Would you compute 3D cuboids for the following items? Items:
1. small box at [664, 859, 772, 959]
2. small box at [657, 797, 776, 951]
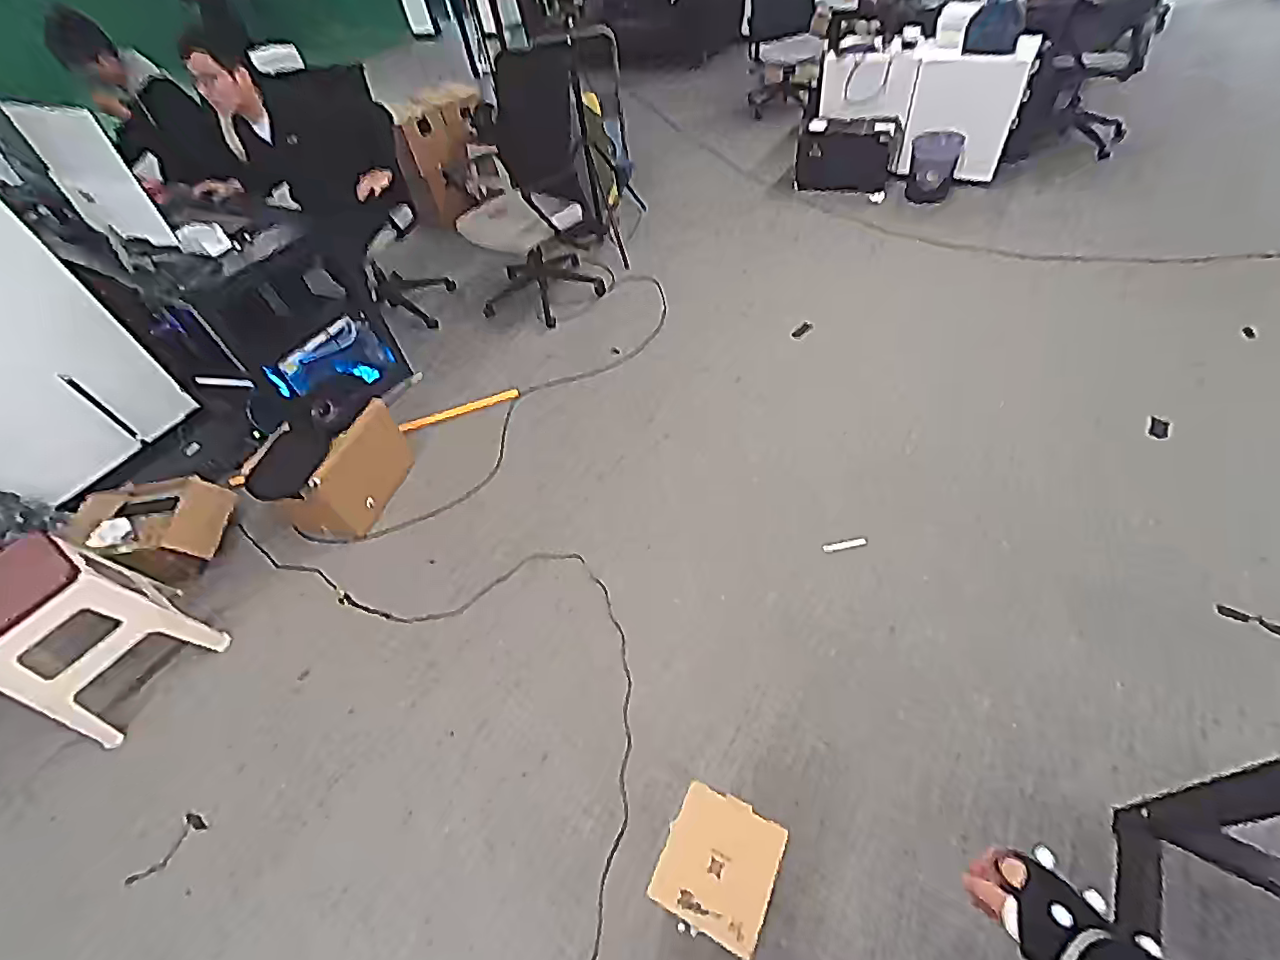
[{"bbox_3d":[0.163,0.847,1.126,0.168,0.176,0.179,18,55,23],"label":"small box"},{"bbox_3d":[0.145,0.736,1.010,0.168,0.176,0.179,16,52,20],"label":"small box"}]
